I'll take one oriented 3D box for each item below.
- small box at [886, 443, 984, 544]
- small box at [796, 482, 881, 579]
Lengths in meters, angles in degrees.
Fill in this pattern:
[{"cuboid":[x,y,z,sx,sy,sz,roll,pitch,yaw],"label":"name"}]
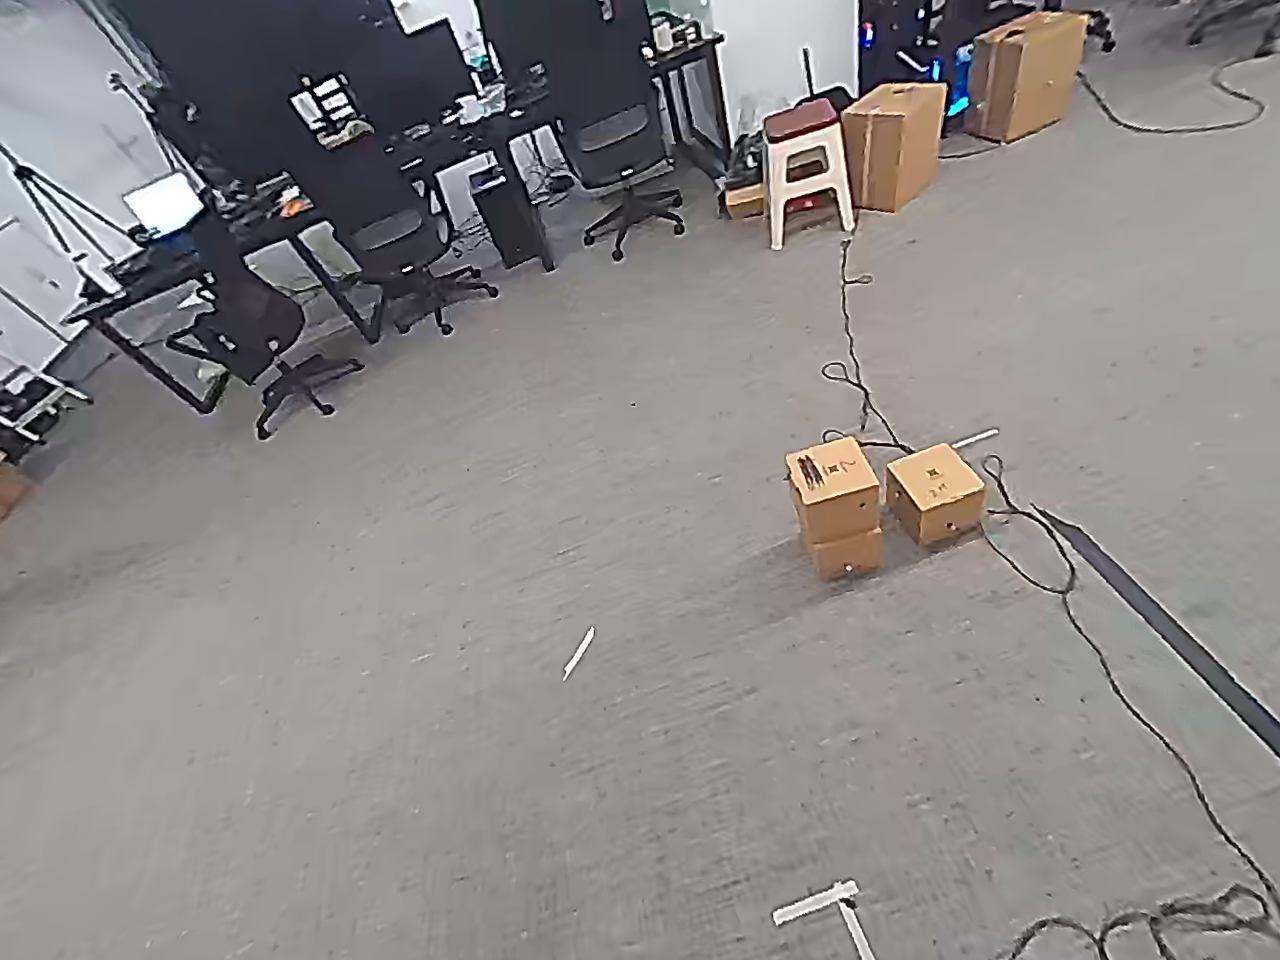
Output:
[{"cuboid":[0.777,0.038,1.443,0.168,0.176,0.179,-22,46,6],"label":"small box"},{"cuboid":[0.531,0.138,1.458,0.168,0.176,0.179,-17,47,9],"label":"small box"}]
